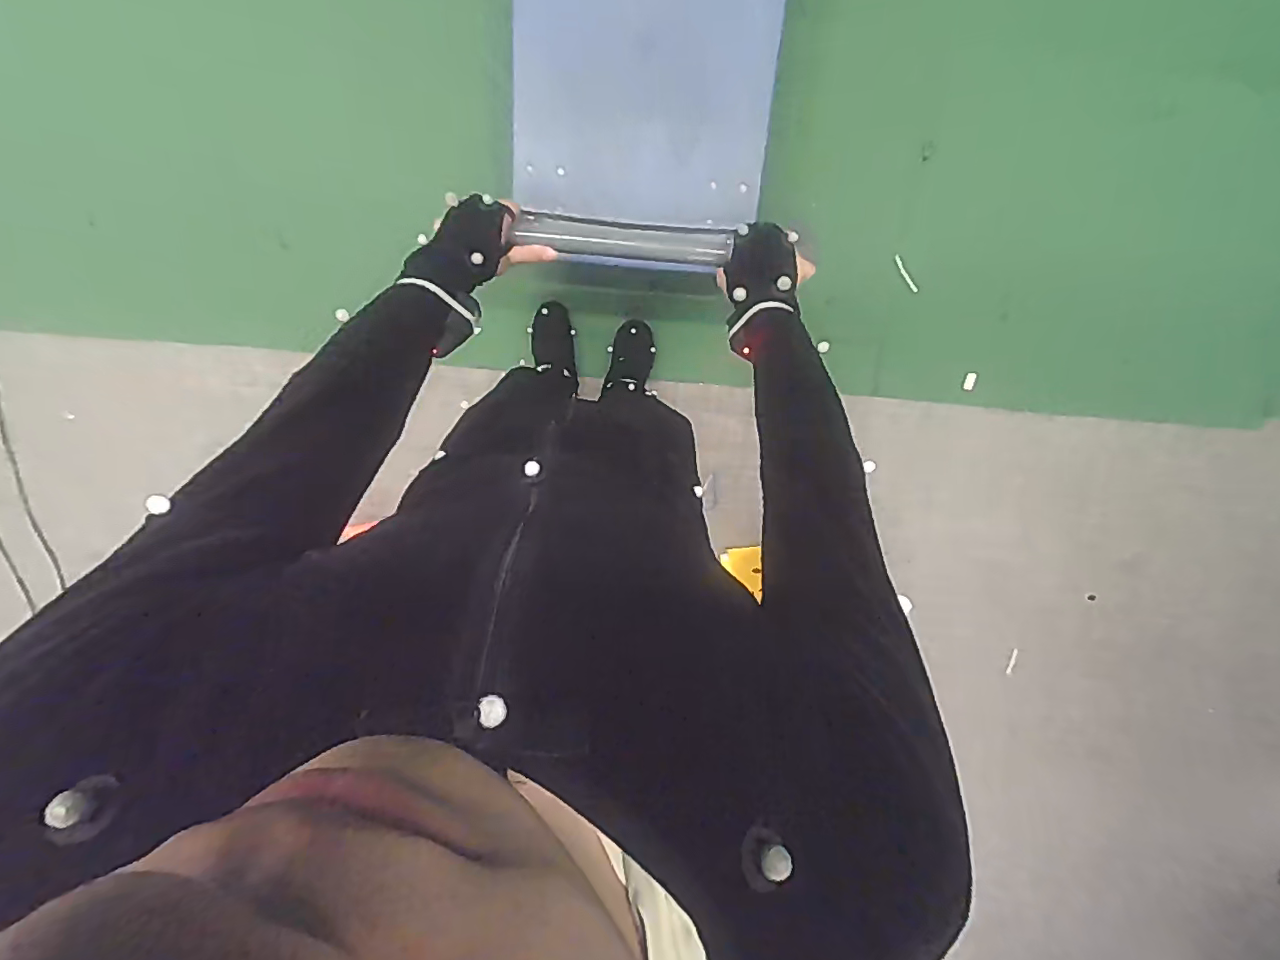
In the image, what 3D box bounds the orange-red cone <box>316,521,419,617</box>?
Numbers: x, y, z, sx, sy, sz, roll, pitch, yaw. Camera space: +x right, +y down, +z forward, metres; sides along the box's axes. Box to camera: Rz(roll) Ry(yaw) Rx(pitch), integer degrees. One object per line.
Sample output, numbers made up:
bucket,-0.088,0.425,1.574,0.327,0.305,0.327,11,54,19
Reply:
orange-red cone,-0.819,0.283,1.560,0.199,0.360,0.198,-9,108,4
